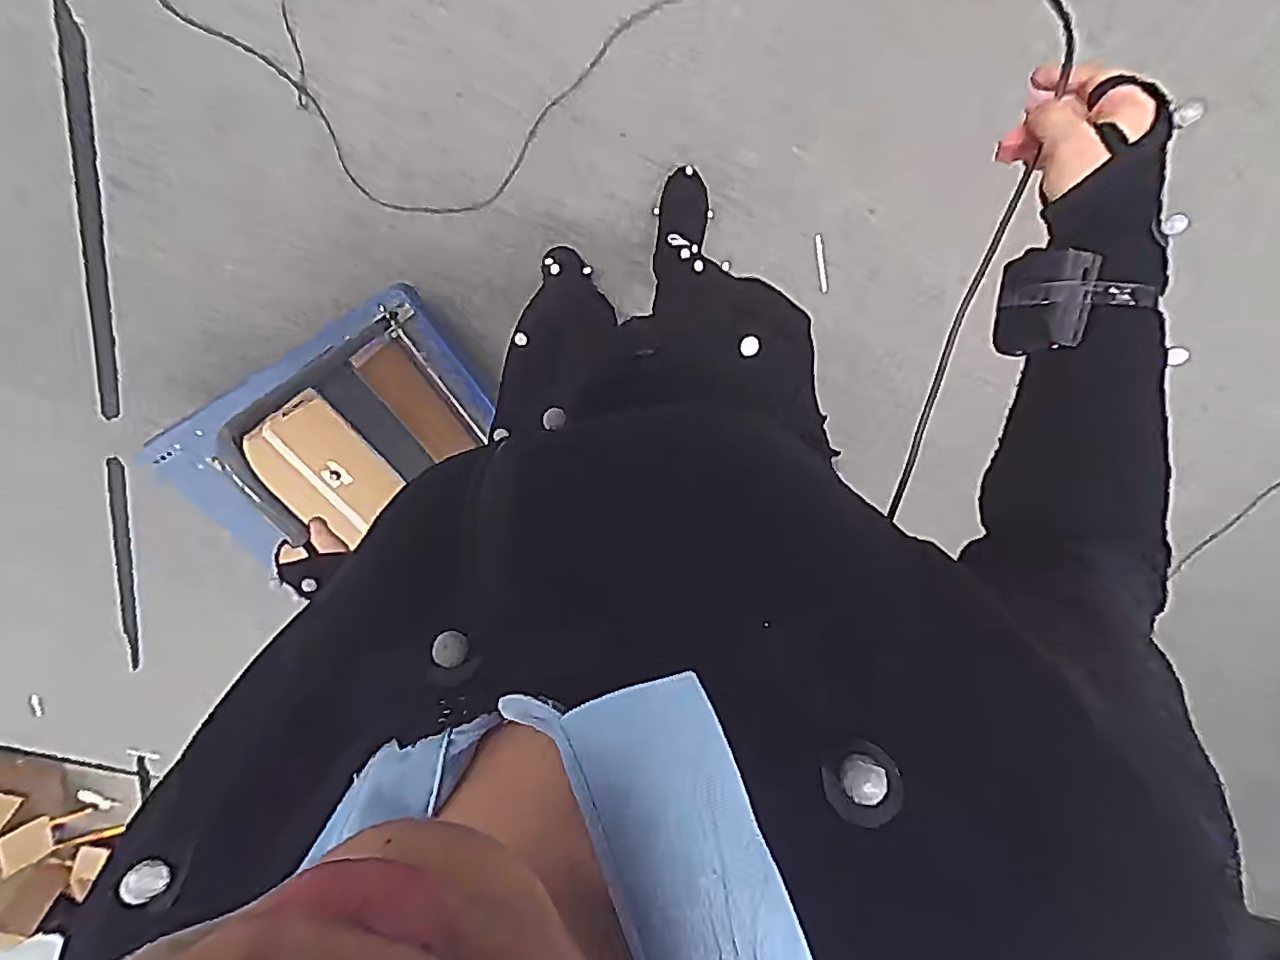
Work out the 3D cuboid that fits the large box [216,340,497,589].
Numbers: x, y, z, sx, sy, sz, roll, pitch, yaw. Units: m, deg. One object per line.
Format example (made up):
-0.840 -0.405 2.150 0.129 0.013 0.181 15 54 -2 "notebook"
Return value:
-0.594 -0.036 1.223 0.320 0.320 0.408 -25 119 14 "large box"
